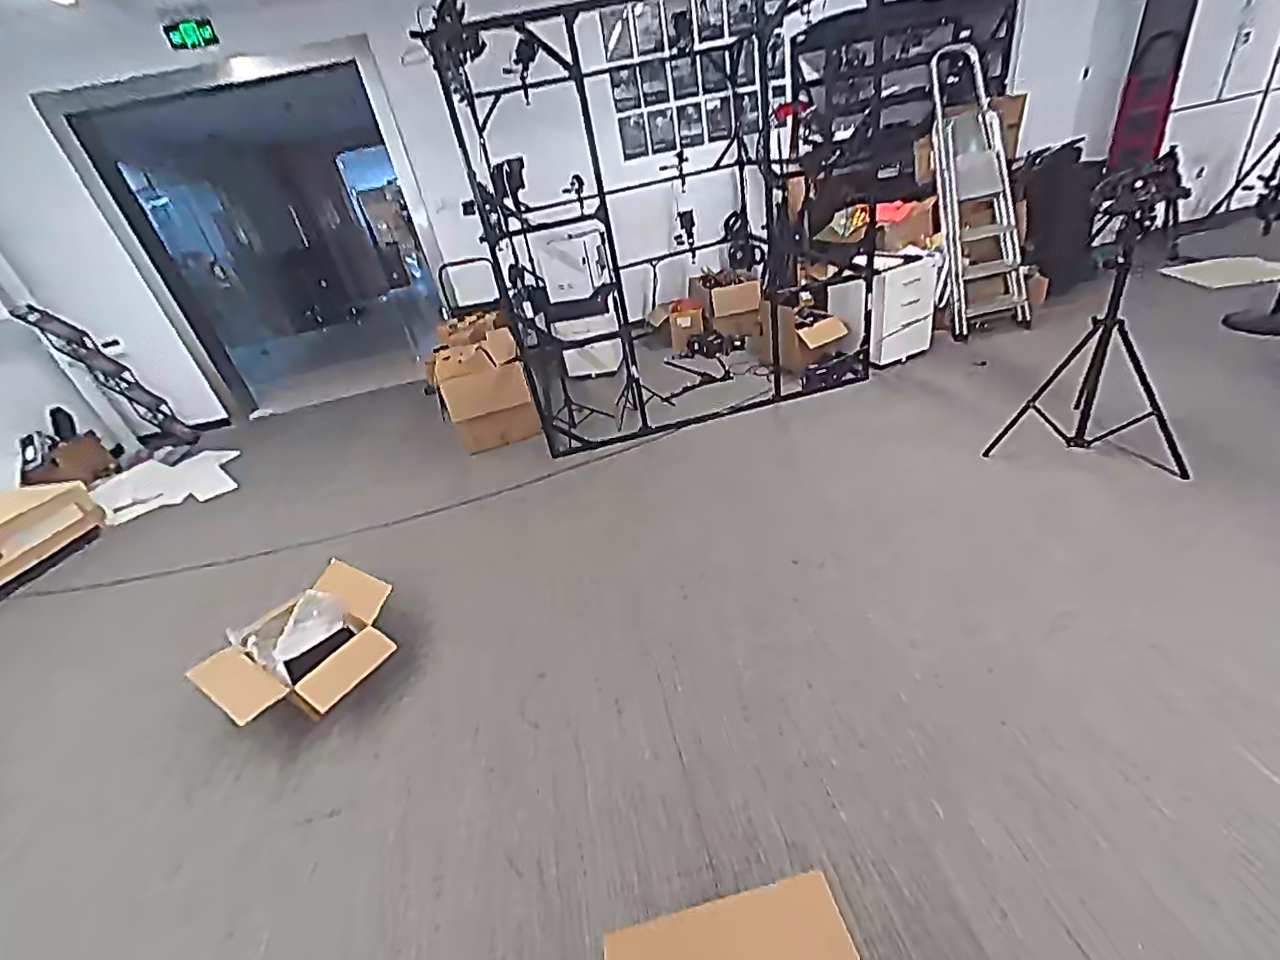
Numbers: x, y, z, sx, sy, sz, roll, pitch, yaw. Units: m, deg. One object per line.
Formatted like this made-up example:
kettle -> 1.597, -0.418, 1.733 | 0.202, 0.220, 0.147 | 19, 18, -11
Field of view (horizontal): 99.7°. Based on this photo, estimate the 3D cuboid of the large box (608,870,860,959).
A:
large box -> 0.189, 0.946, 0.897 | 0.408, 0.320, 0.320 | -14, 31, -4
